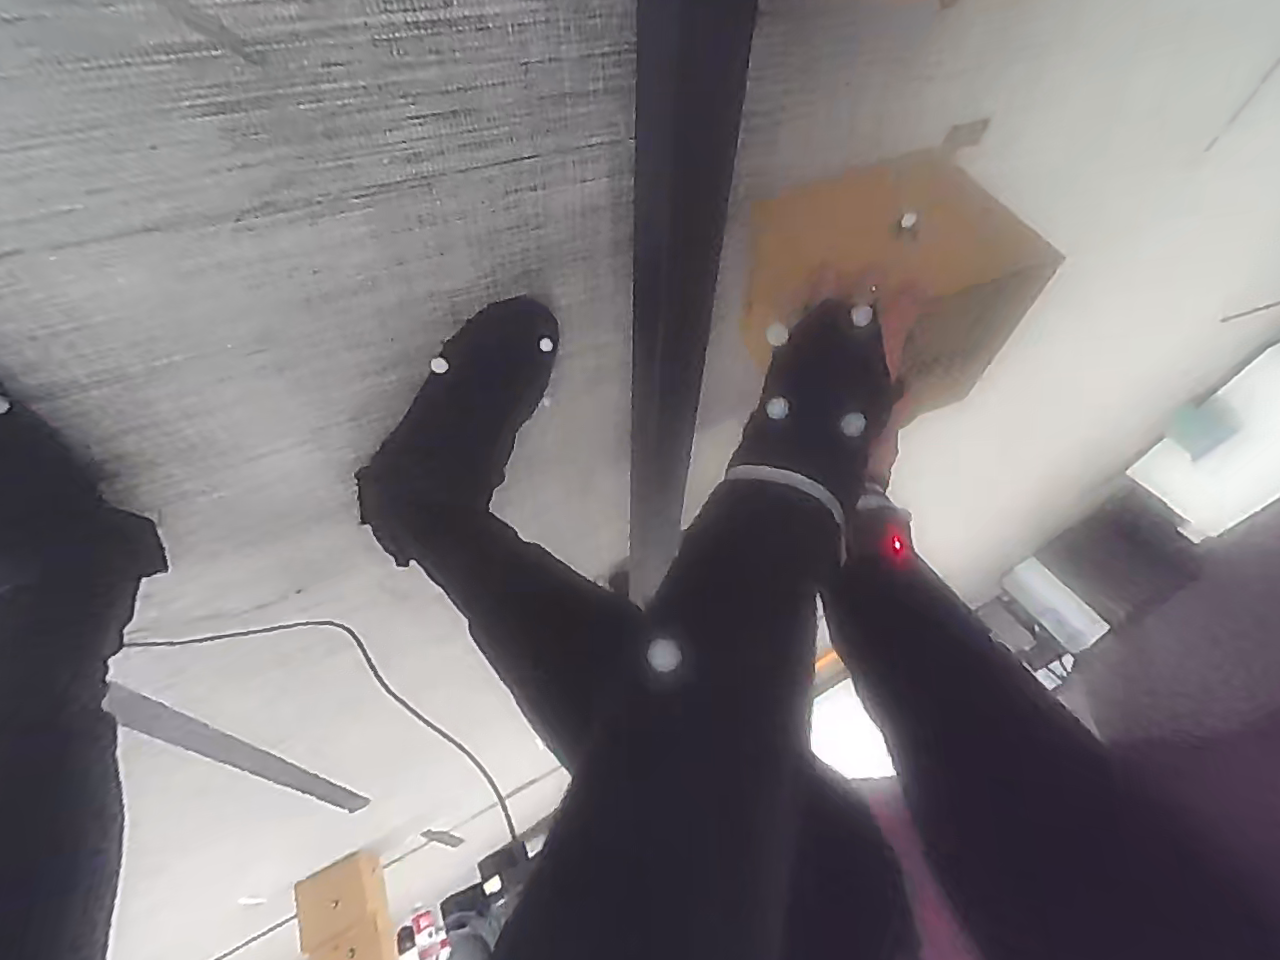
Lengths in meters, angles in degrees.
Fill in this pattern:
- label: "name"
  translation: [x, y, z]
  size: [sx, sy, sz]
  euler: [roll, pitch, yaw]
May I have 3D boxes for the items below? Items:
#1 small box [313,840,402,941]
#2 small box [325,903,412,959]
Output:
- label: "small box"
  translation: [-0.817, 1.178, 1.558]
  size: [0.179, 0.176, 0.168]
  euler: [-23, 147, -16]
- label: "small box"
  translation: [-0.739, 1.300, 1.483]
  size: [0.168, 0.176, 0.179]
  euler: [-19, 145, -20]
